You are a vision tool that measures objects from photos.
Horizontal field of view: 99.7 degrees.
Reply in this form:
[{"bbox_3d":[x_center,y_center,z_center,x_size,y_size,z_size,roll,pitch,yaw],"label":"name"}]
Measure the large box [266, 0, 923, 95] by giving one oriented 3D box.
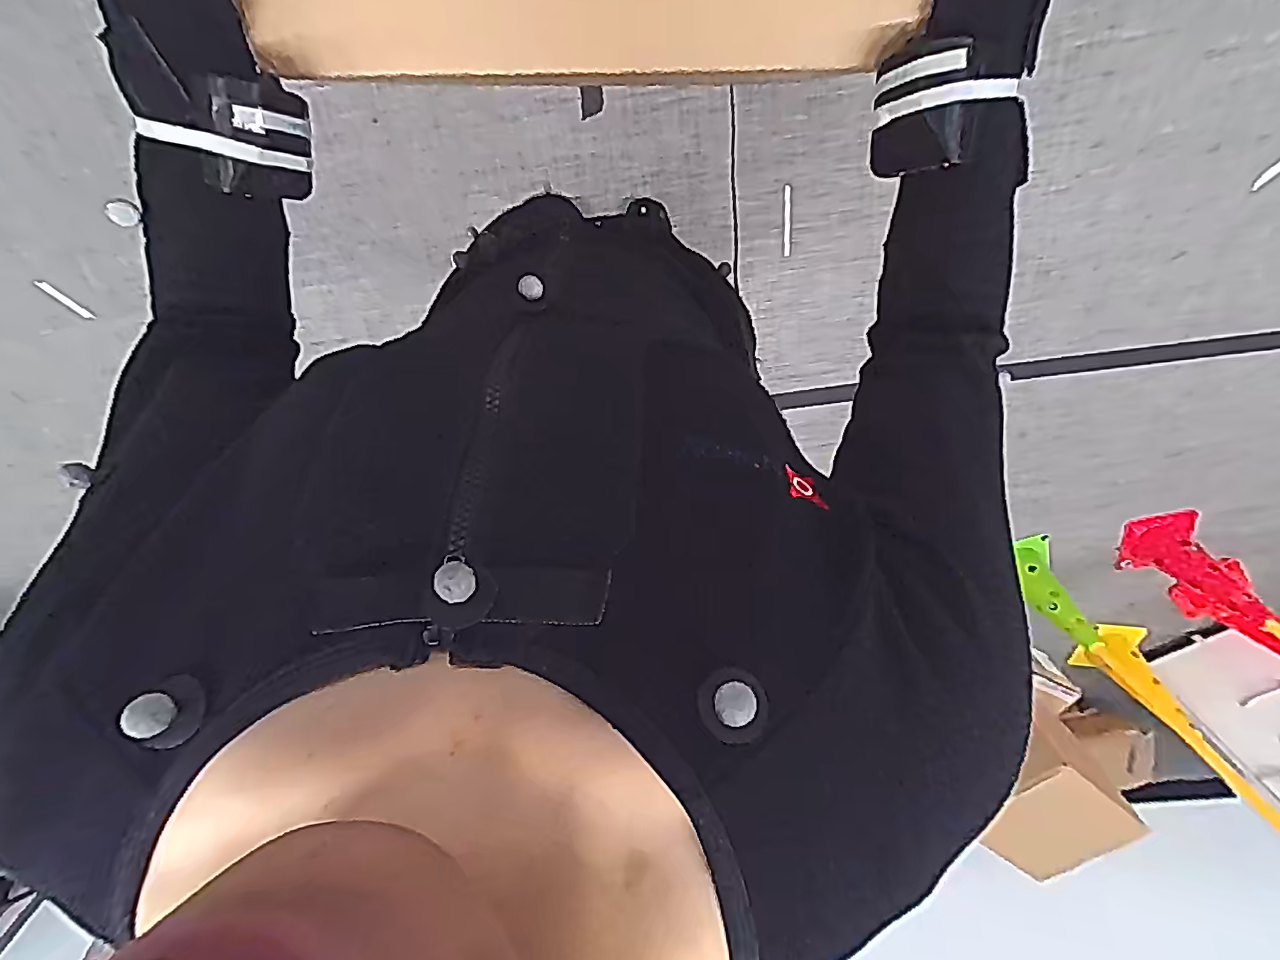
[{"bbox_3d":[-0.033,-0.474,0.382,0.408,0.320,0.320,-1,125,0],"label":"large box"}]
